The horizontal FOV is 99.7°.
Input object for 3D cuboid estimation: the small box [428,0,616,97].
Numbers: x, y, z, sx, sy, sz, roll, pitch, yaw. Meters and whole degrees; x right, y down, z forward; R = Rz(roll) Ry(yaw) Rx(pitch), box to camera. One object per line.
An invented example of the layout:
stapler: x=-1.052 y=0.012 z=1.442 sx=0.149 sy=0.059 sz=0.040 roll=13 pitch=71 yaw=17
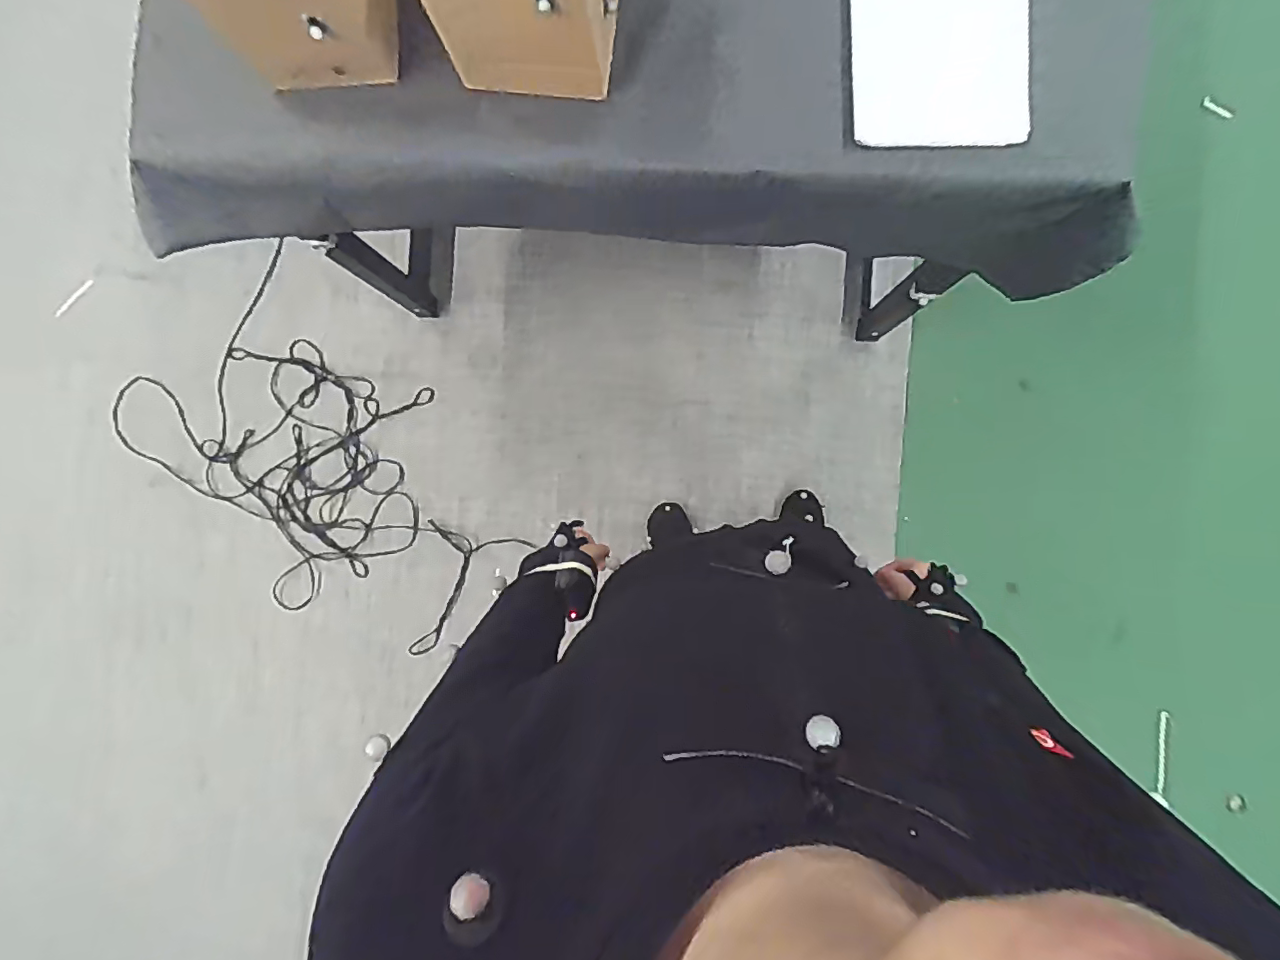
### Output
small box: x=-0.126 y=-0.547 z=0.572 sx=0.179 sy=0.176 sz=0.168 roll=7 pitch=89 yaw=3

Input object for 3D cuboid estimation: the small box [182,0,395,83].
small box: x=-0.384 y=-0.569 z=0.587 sx=0.168 sy=0.176 sz=0.179 roll=-2 pitch=88 yaw=2
